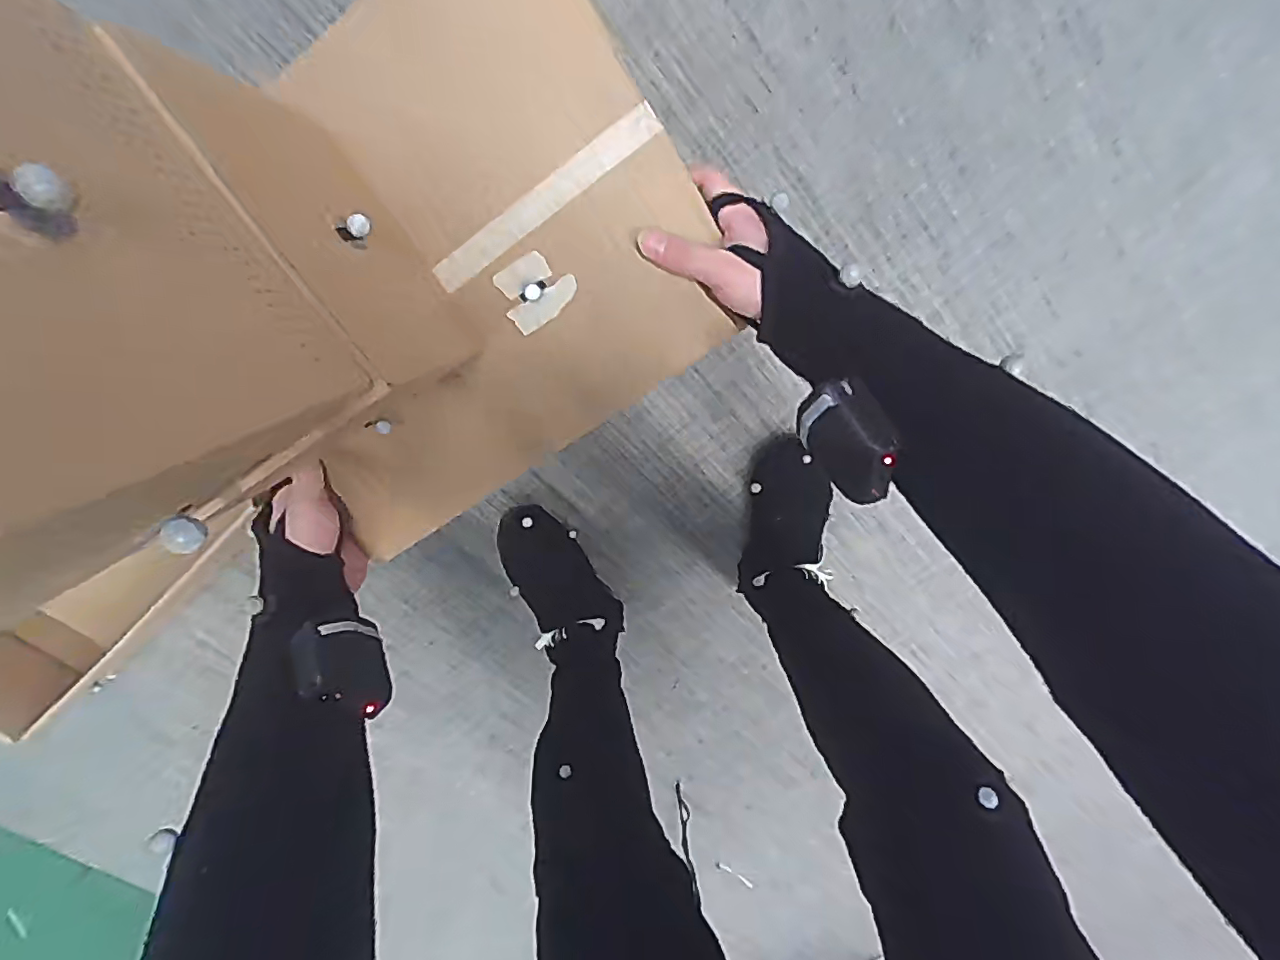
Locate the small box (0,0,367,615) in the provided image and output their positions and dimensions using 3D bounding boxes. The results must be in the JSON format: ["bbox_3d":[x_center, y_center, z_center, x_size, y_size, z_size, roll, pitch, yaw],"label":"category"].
[{"bbox_3d":[-0.238,-0.049,0.175,0.168,0.176,0.179,-30,108,11],"label":"small box"}]

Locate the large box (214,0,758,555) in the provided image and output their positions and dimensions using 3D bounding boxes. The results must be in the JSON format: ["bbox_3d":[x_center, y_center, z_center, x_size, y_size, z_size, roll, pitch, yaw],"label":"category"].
[{"bbox_3d":[-0.153,-0.200,0.555,0.408,0.320,0.320,-32,108,11],"label":"large box"}]
